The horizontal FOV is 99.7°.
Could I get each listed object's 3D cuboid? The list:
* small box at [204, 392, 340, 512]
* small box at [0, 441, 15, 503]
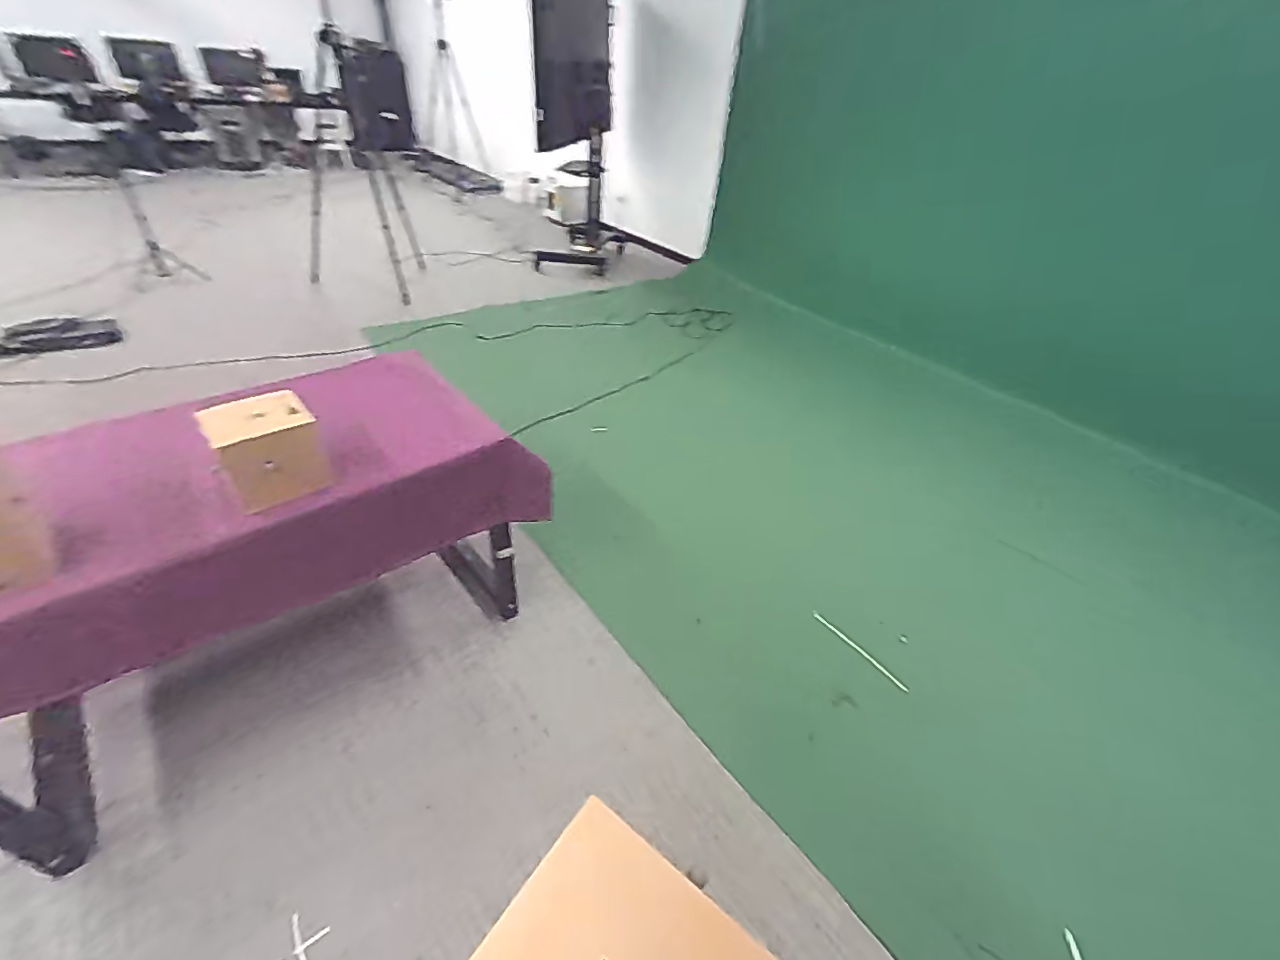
[{"bbox_3d":[-0.773,-0.059,1.147,0.179,0.176,0.168,-27,48,-34],"label":"small box"},{"bbox_3d":[-1.102,-0.035,0.802,0.179,0.176,0.168,-25,47,-35],"label":"small box"}]
